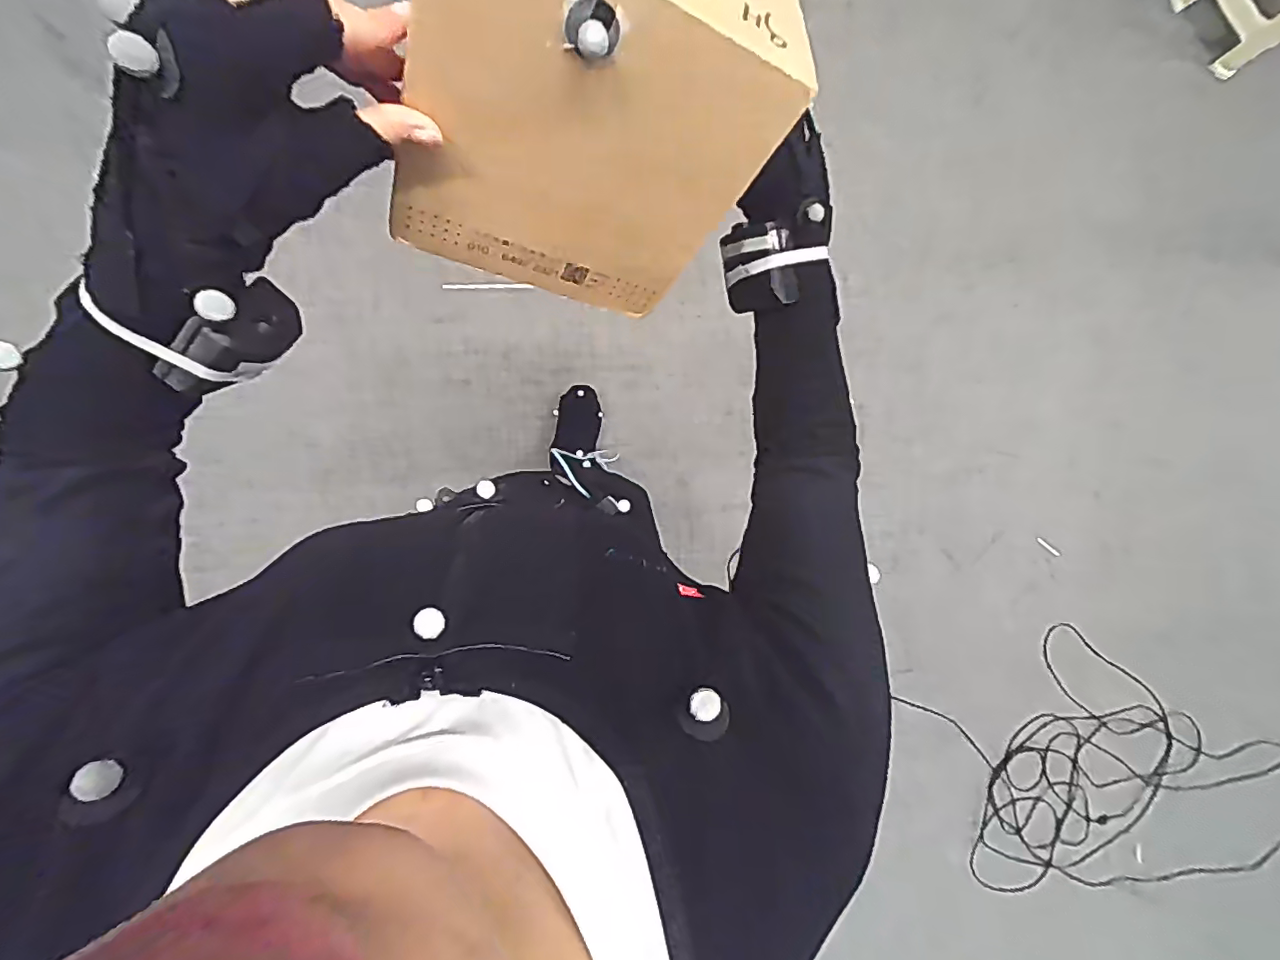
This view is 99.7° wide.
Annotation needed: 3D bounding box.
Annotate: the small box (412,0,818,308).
[{"bbox_3d":[-0.029,-0.239,0.316,0.168,0.176,0.179,10,63,-25],"label":"small box"}]
